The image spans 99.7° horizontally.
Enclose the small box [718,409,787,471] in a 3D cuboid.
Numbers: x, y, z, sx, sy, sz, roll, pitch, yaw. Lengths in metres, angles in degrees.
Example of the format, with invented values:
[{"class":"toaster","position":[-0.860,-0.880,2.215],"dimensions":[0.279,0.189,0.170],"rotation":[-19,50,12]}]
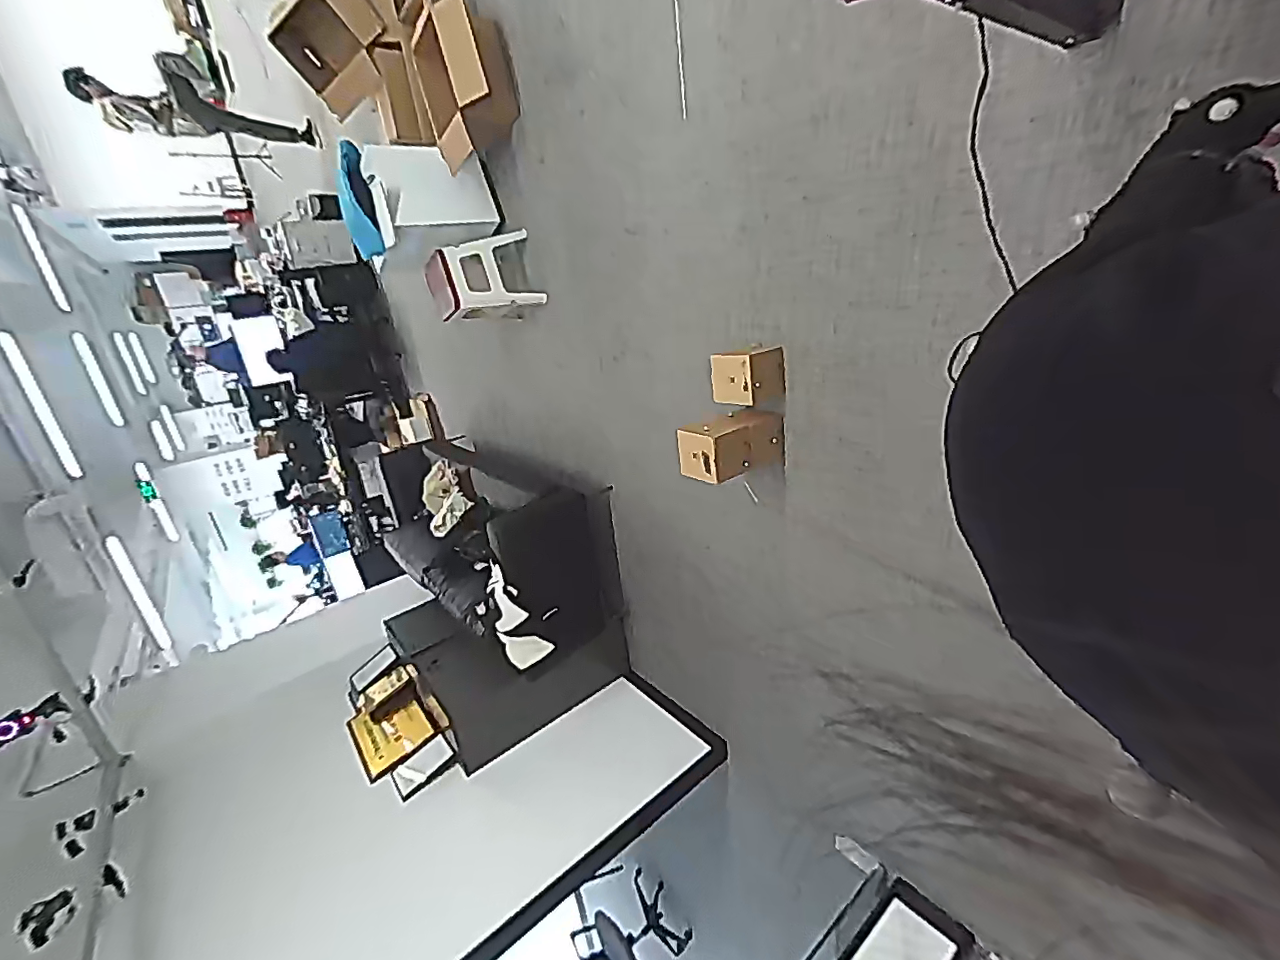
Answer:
[{"class":"small box","position":[0.399,-0.150,1.923],"dimensions":[0.179,0.176,0.168],"rotation":[19,124,48]}]

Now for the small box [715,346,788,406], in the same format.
[{"class":"small box","position":[0.378,-0.357,1.834],"dimensions":[0.179,0.176,0.168],"rotation":[17,122,50]}]

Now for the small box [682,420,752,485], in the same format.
[{"class":"small box","position":[0.268,-0.100,1.838],"dimensions":[0.179,0.176,0.168],"rotation":[19,123,50]}]
